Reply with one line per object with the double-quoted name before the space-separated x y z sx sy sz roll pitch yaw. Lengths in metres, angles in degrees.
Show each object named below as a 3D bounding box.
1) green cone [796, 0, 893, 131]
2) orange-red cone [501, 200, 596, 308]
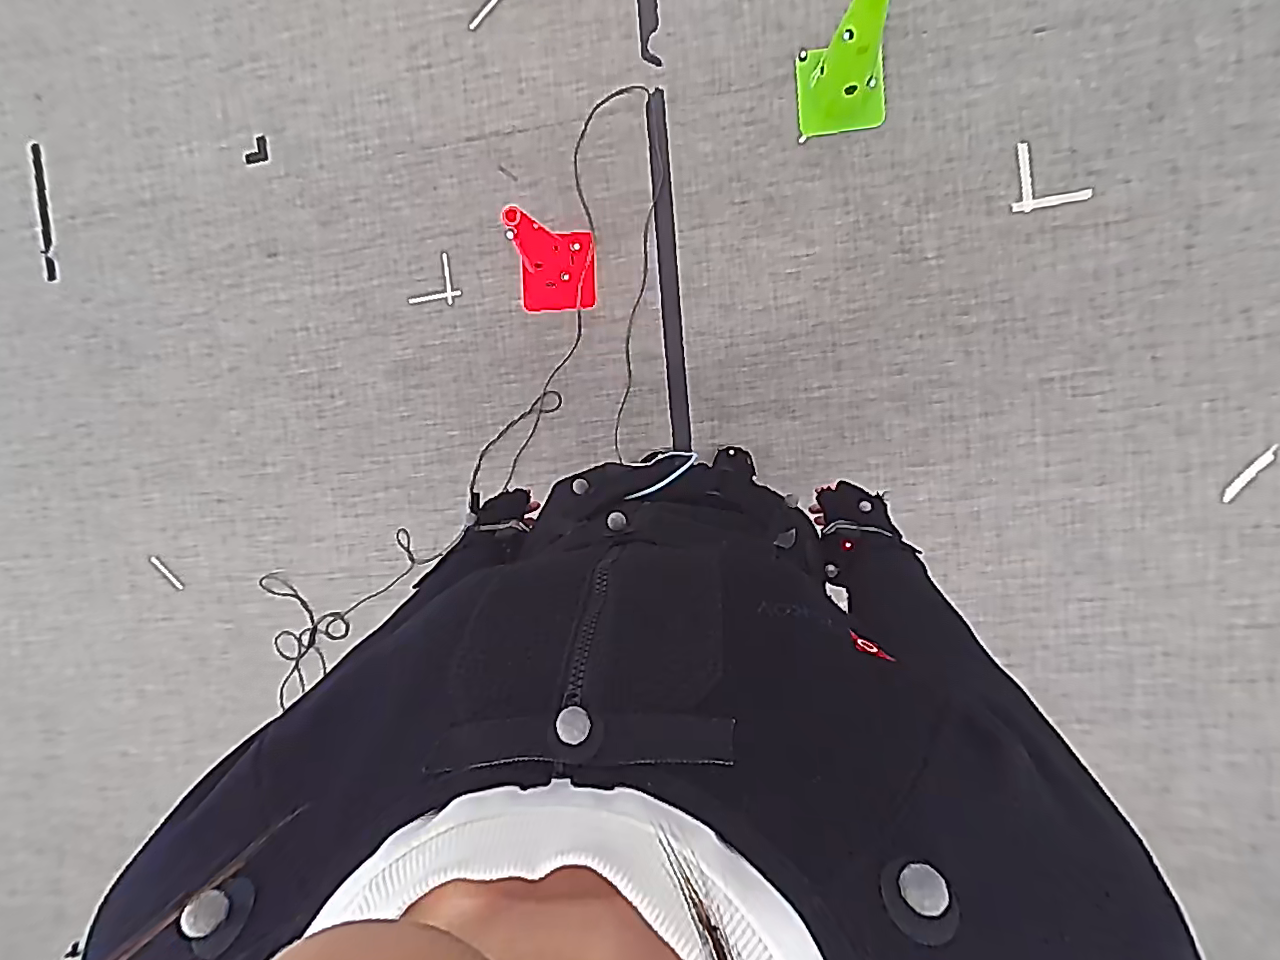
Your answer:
"green cone" 0.464 -0.940 1.131 0.202 0.368 0.200 -4 93 6
"orange-red cone" -0.238 -0.547 1.252 0.199 0.360 0.198 0 92 9
